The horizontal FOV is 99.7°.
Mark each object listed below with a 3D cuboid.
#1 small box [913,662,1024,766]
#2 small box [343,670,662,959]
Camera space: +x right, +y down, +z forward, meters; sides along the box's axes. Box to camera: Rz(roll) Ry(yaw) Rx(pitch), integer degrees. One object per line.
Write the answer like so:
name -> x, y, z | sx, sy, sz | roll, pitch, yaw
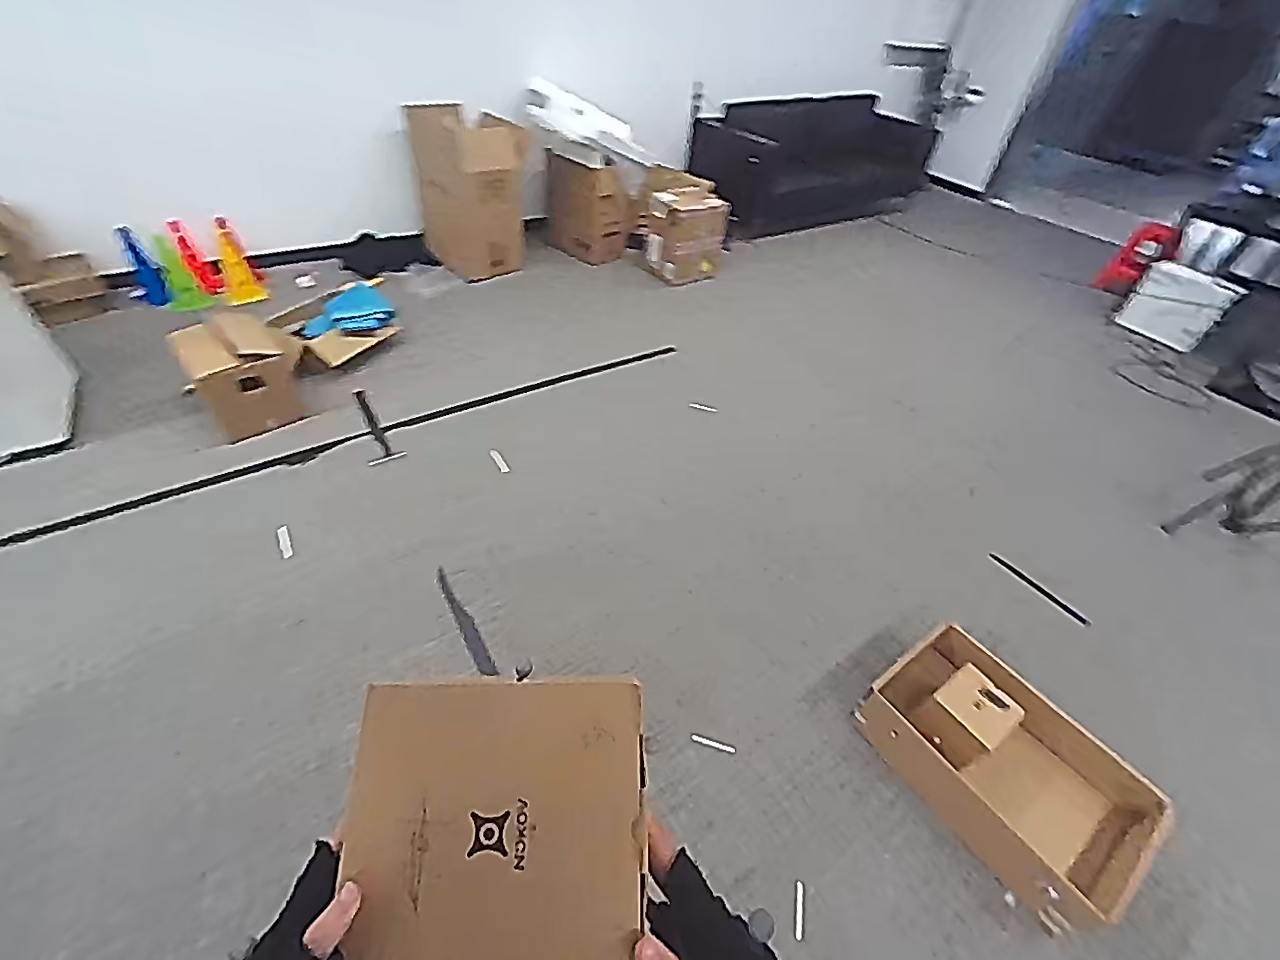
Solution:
small box -> 0.885, 0.638, 1.474 | 0.179, 0.176, 0.168 | -25, 52, -27
small box -> -0.078, 0.227, 0.396 | 0.179, 0.176, 0.168 | 0, 69, -1
